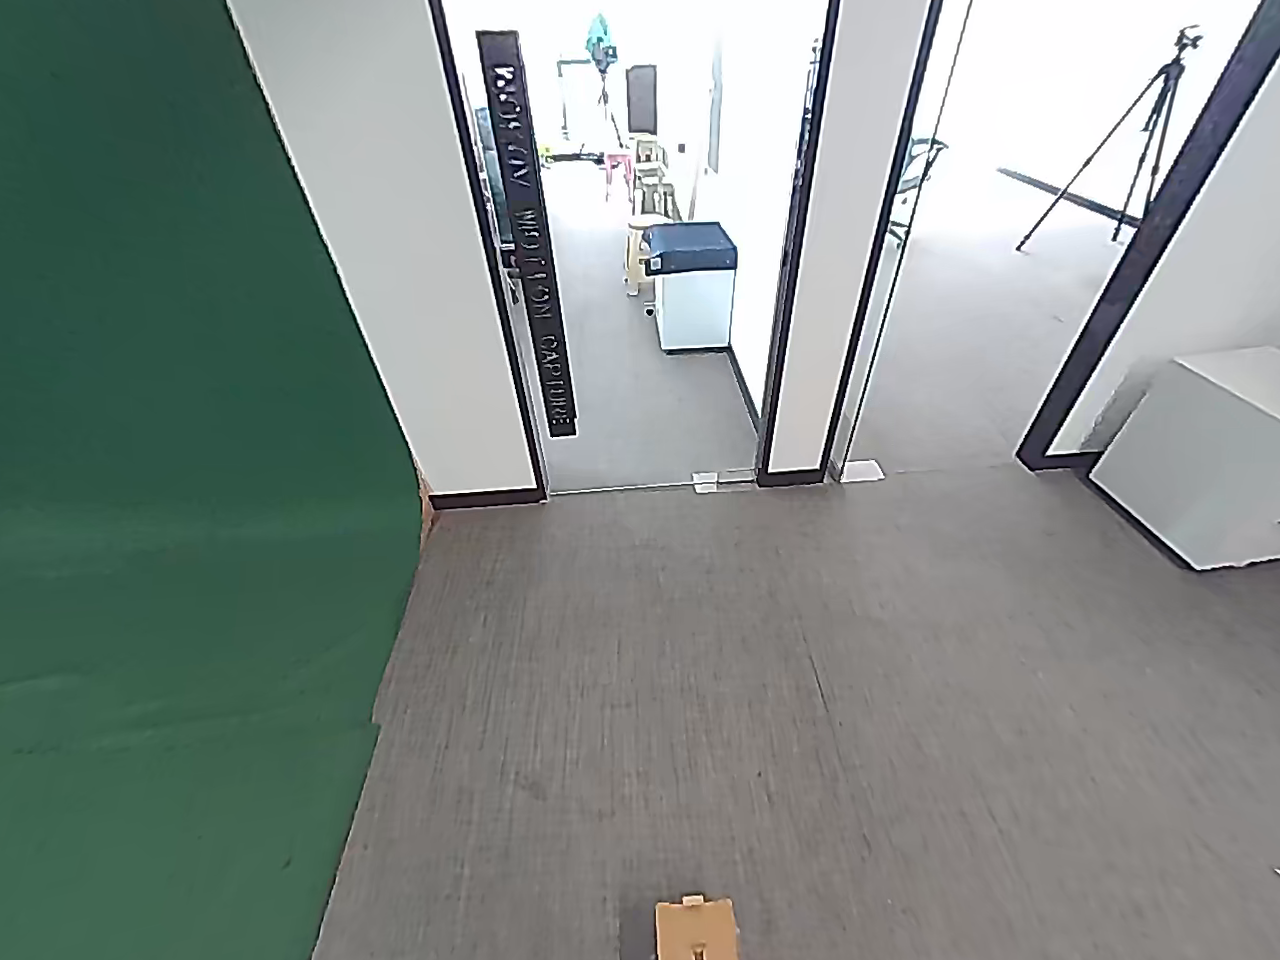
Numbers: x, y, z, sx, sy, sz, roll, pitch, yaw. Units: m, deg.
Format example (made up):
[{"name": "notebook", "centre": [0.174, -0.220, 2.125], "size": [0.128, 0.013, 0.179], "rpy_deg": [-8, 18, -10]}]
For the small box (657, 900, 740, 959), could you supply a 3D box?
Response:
[{"name": "small box", "centre": [0.121, 1.002, 1.123], "size": [0.168, 0.176, 0.179], "rpy_deg": [-4, 41, 3]}]
